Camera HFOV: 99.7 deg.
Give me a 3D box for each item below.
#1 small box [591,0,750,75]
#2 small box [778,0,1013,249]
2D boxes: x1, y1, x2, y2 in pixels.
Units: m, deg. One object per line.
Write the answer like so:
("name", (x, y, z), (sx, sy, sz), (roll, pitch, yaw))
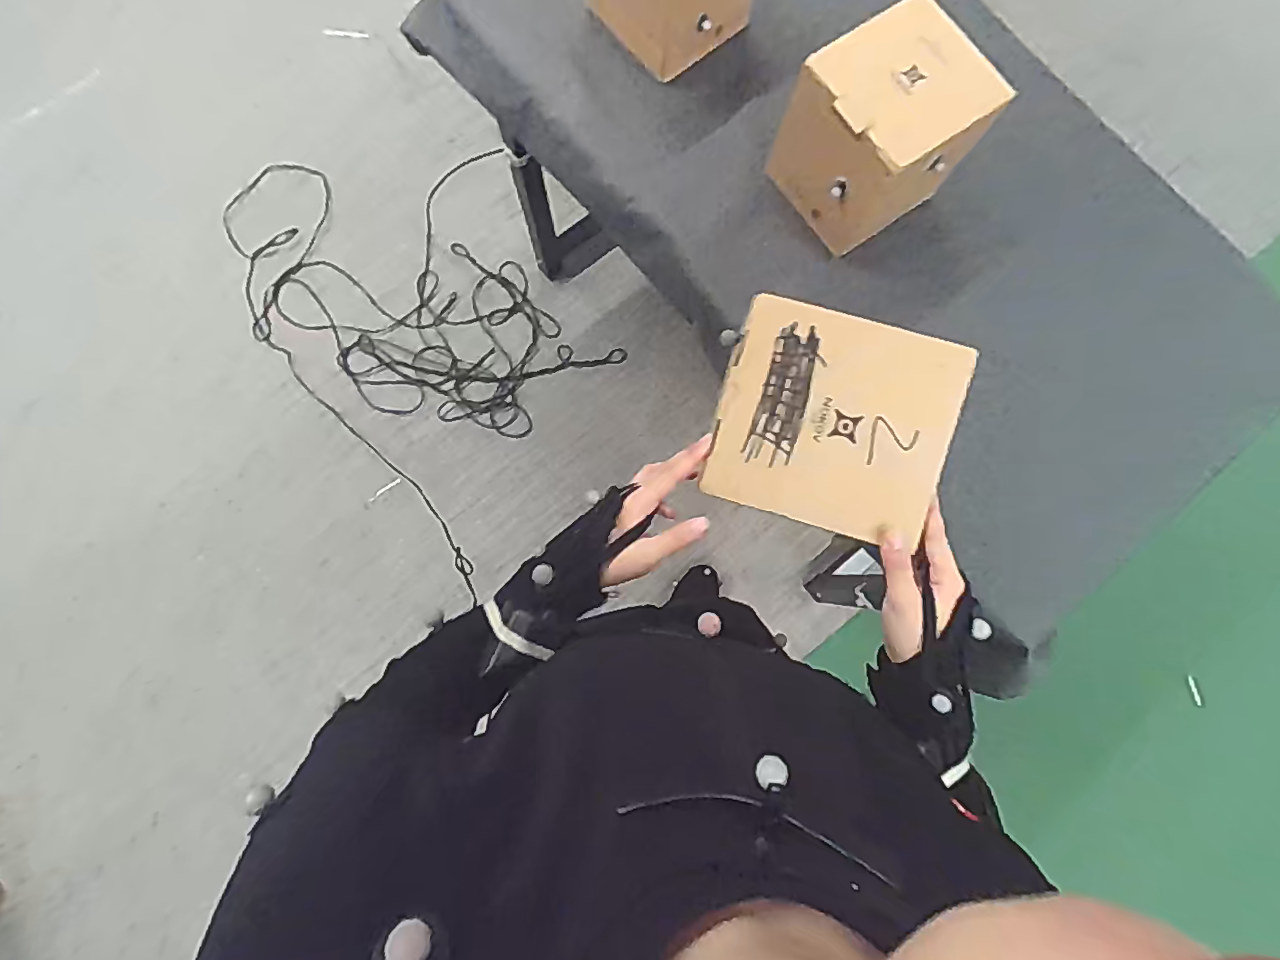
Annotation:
("small box", (0.042, -0.694, 0.708), (0.168, 0.176, 0.179), (-40, 84, -8))
("small box", (0.293, -0.428, 0.670), (0.179, 0.176, 0.168), (-35, 84, -8))
